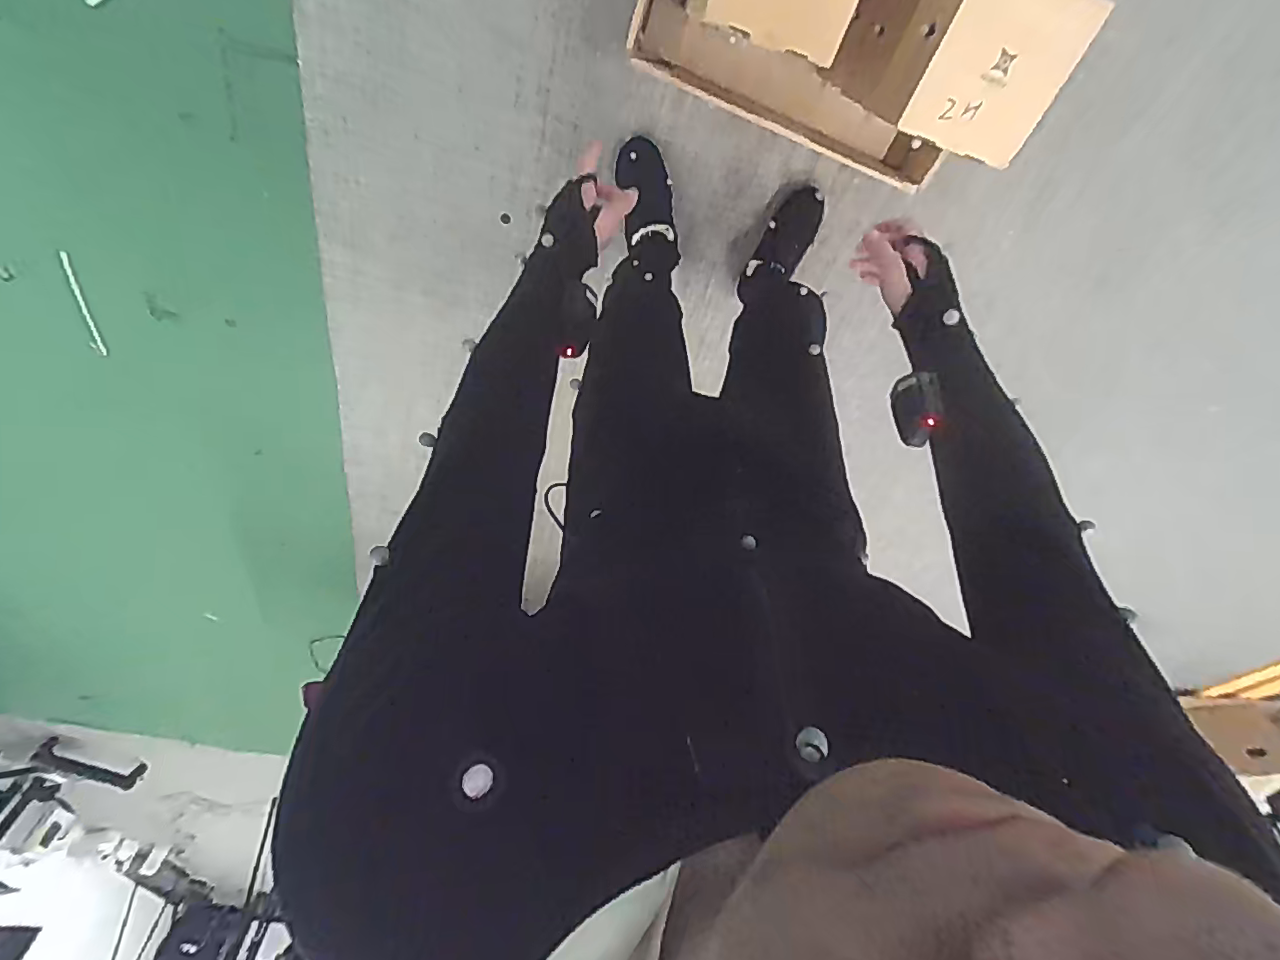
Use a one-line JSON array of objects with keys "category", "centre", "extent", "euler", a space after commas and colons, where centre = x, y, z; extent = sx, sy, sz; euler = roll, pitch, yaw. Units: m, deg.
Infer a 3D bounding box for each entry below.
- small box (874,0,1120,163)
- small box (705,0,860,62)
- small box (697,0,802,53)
[{"category": "small box", "centre": [0.430, -0.542, 0.690], "extent": [0.168, 0.176, 0.179], "euler": [15, 131, -8]}, {"category": "small box", "centre": [0.178, -0.629, 0.631], "extent": [0.168, 0.176, 0.179], "euler": [14, 131, -9]}, {"category": "small box", "centre": [0.183, -0.734, 0.754], "extent": [0.168, 0.176, 0.179], "euler": [15, 129, -9]}]
